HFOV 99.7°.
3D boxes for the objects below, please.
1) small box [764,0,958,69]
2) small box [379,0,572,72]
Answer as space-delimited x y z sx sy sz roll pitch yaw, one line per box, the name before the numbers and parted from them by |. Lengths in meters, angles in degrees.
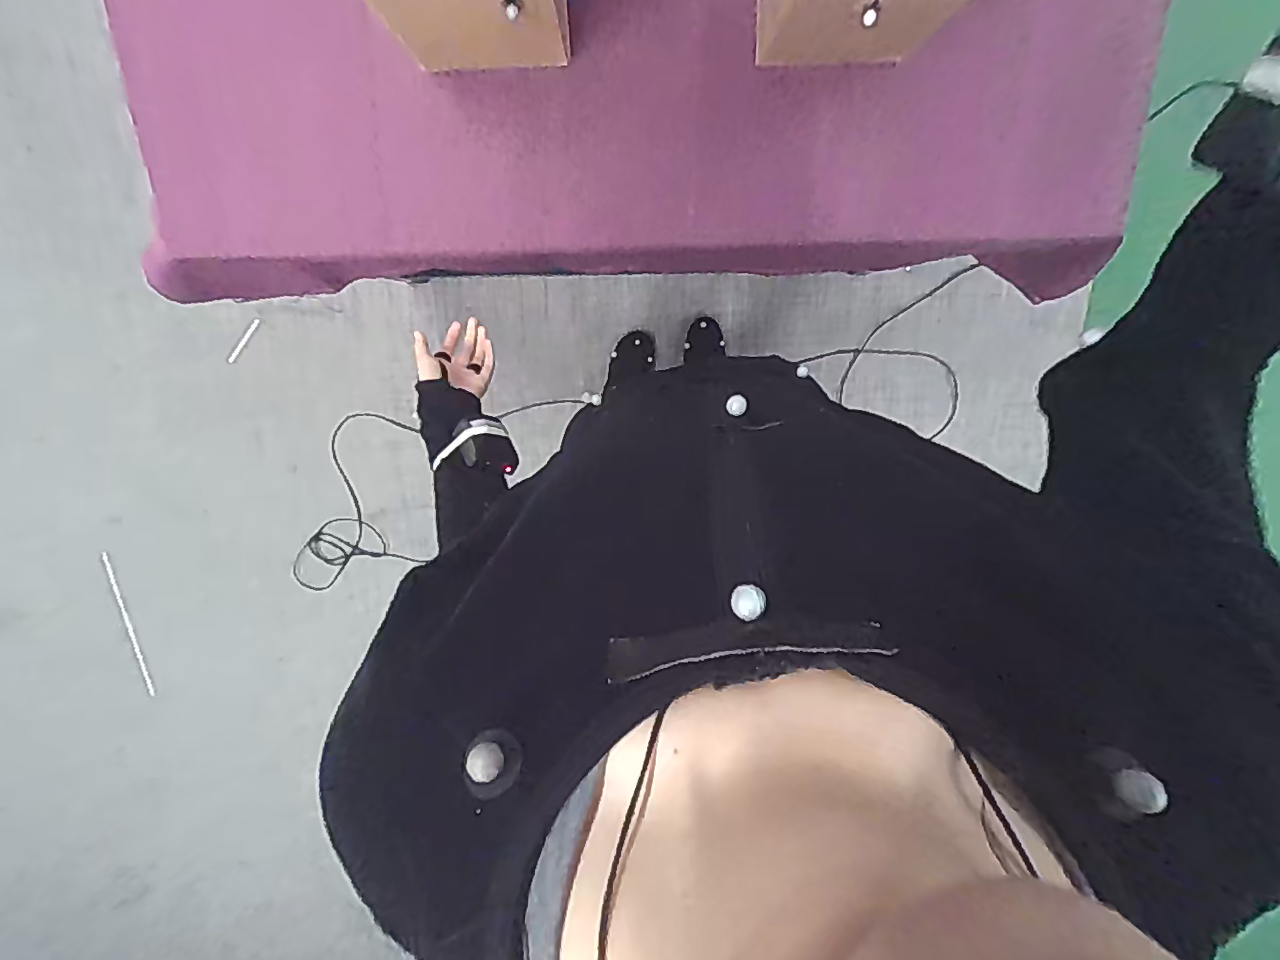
small box | 0.225 -0.540 0.538 0.179 0.176 0.168 -3 107 1
small box | -0.168 -0.534 0.533 0.179 0.176 0.168 -4 105 -1
